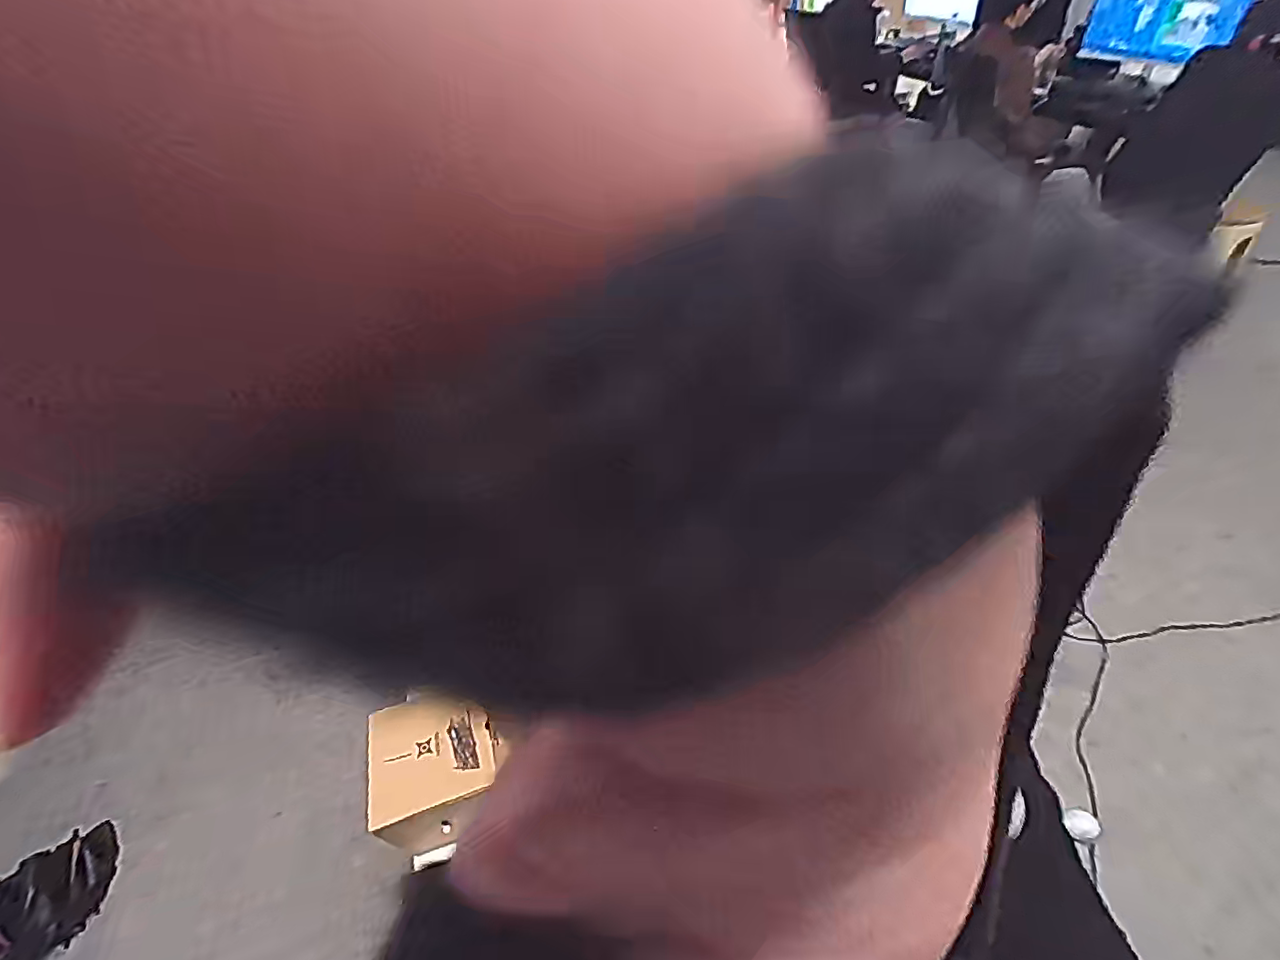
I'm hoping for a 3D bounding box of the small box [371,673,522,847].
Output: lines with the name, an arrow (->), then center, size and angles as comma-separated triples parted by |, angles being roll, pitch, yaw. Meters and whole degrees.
small box -> -0.291, 0.432, 0.834 | 0.179, 0.176, 0.168 | -18, 47, -9
